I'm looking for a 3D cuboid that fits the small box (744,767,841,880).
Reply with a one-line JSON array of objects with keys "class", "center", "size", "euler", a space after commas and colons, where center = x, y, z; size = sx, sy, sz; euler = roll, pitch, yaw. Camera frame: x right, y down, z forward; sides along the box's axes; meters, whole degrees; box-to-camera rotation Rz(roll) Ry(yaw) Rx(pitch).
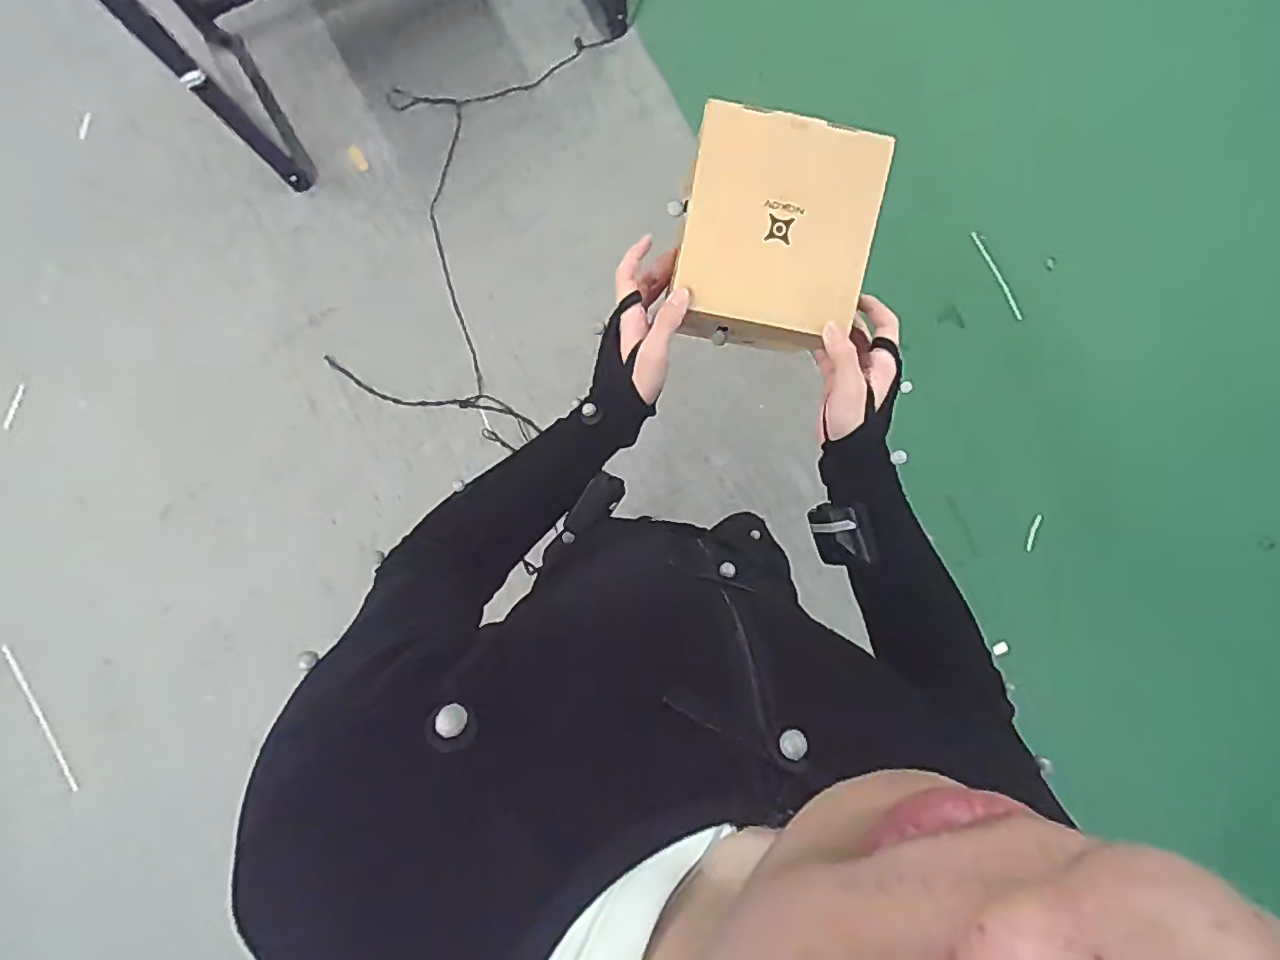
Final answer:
[{"class": "small box", "center": [0.400, 0.904, 1.450], "size": [0.168, 0.176, 0.179], "euler": [-27, 87, -2]}]
